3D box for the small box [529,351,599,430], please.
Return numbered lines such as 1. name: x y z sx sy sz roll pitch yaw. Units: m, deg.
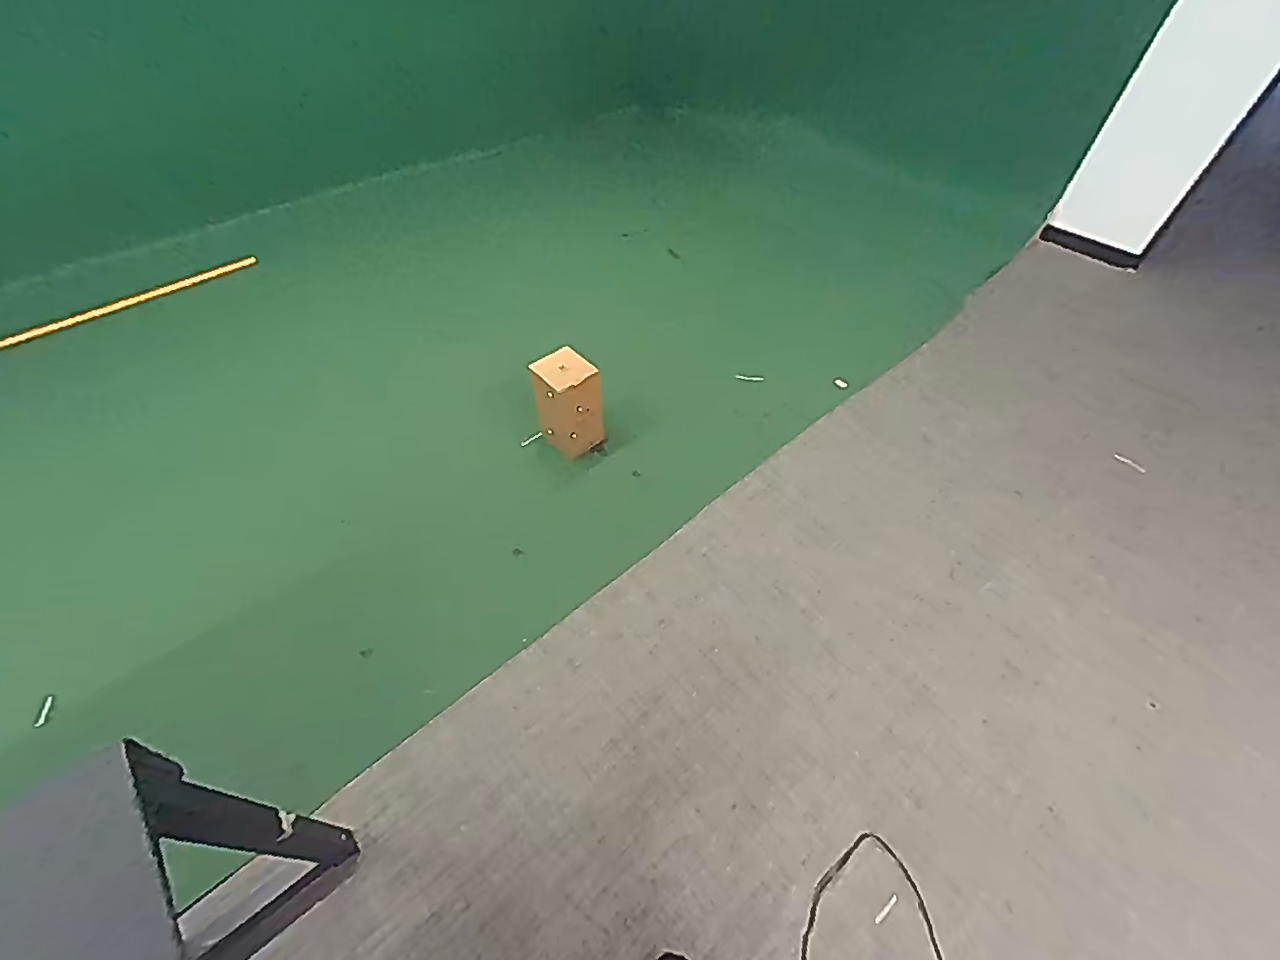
1. small box: -0.255 -0.302 1.832 0.168 0.176 0.179 -34 58 -26
